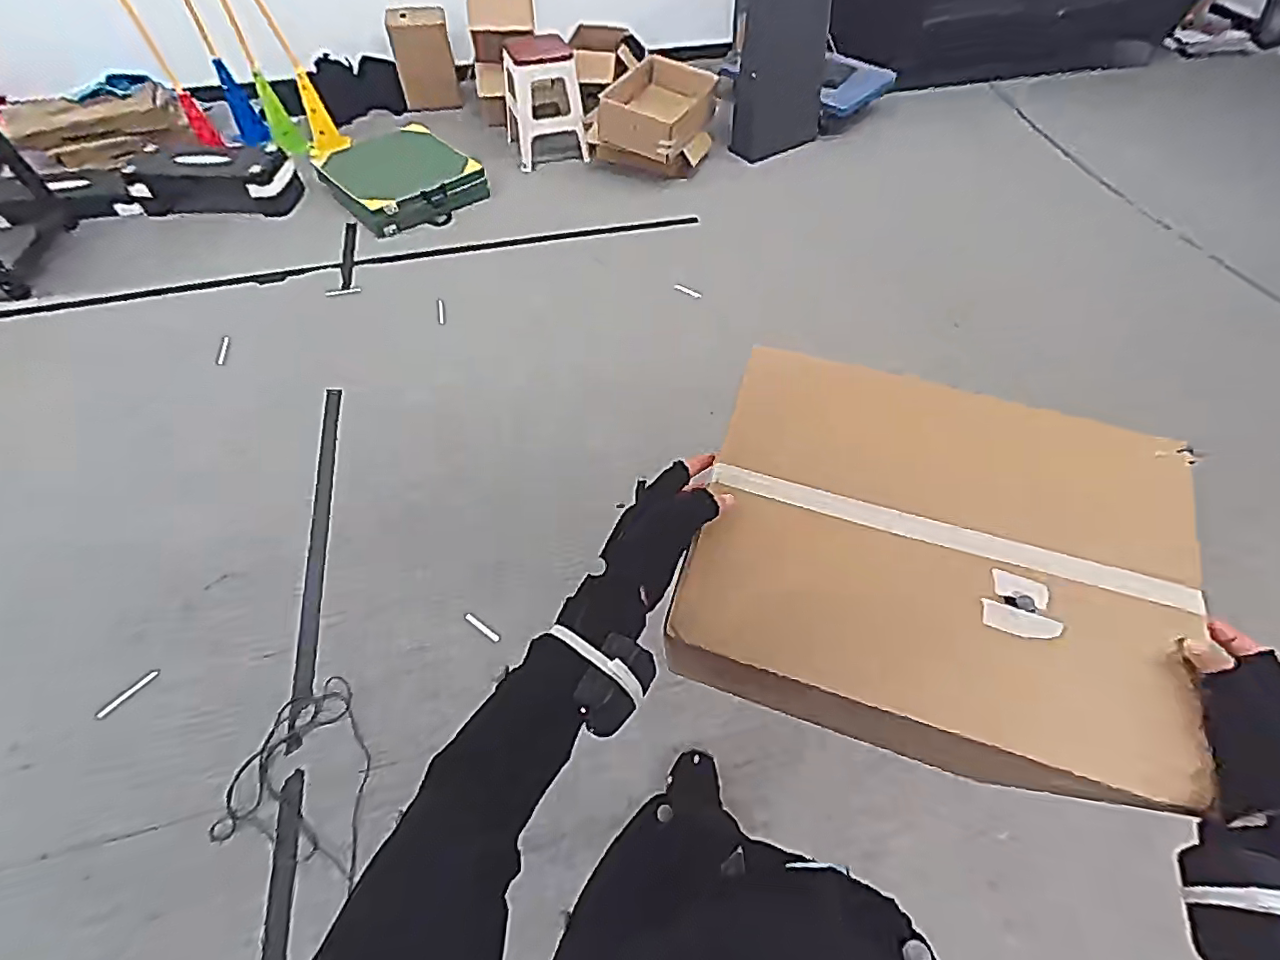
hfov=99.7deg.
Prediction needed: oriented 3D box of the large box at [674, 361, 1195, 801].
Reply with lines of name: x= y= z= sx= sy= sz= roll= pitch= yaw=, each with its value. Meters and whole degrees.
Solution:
large box: x=0.271 y=0.116 z=0.621 sx=0.408 sy=0.320 sz=0.320 roll=16 pitch=68 yaw=10
